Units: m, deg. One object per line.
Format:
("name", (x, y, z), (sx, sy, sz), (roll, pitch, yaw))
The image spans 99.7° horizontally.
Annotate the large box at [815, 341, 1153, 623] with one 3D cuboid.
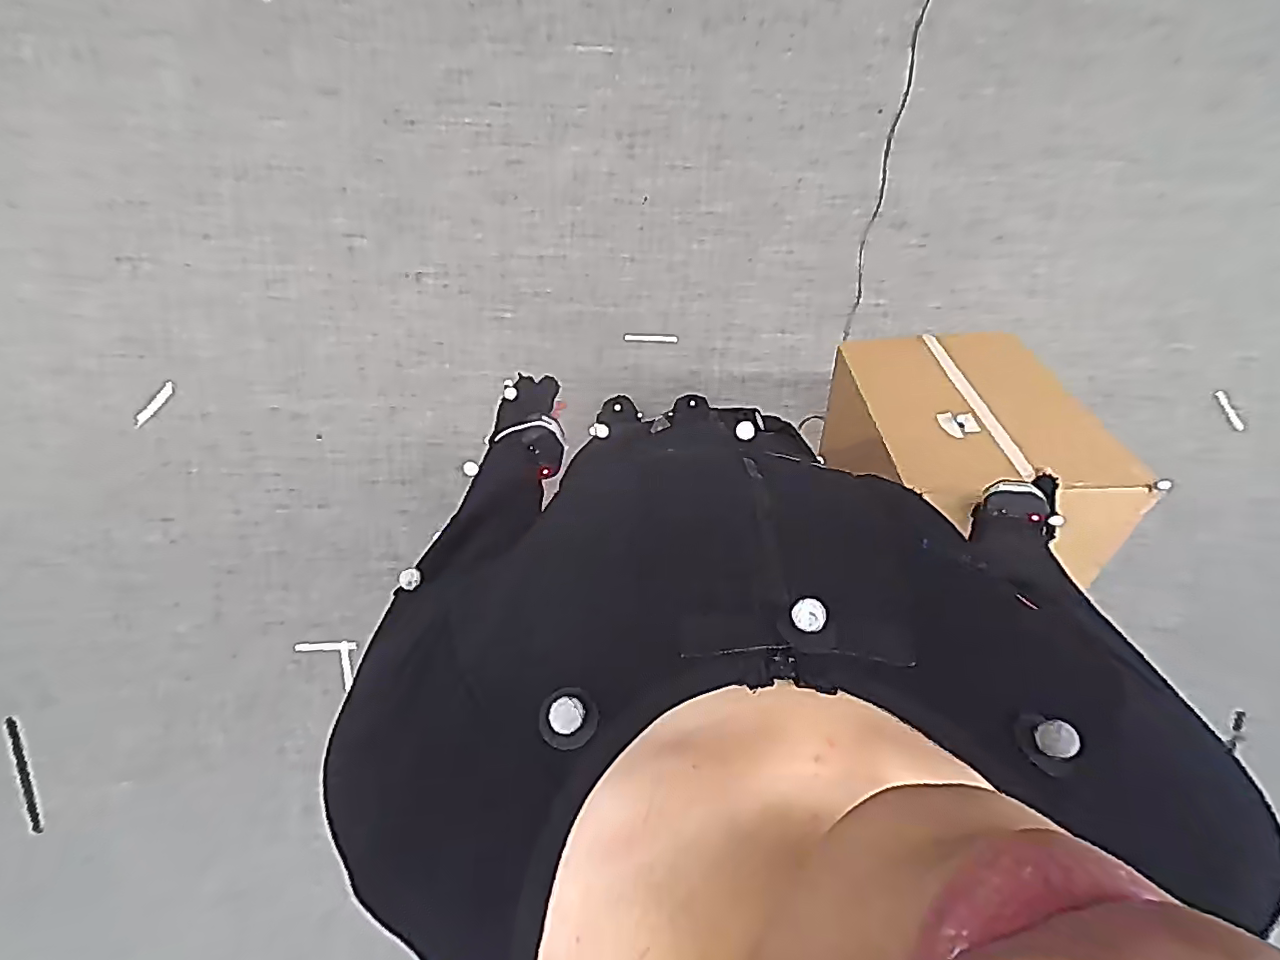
("large box", (0.527, -0.004, 0.953), (0.320, 0.408, 0.320), (-3, 134, 5))
